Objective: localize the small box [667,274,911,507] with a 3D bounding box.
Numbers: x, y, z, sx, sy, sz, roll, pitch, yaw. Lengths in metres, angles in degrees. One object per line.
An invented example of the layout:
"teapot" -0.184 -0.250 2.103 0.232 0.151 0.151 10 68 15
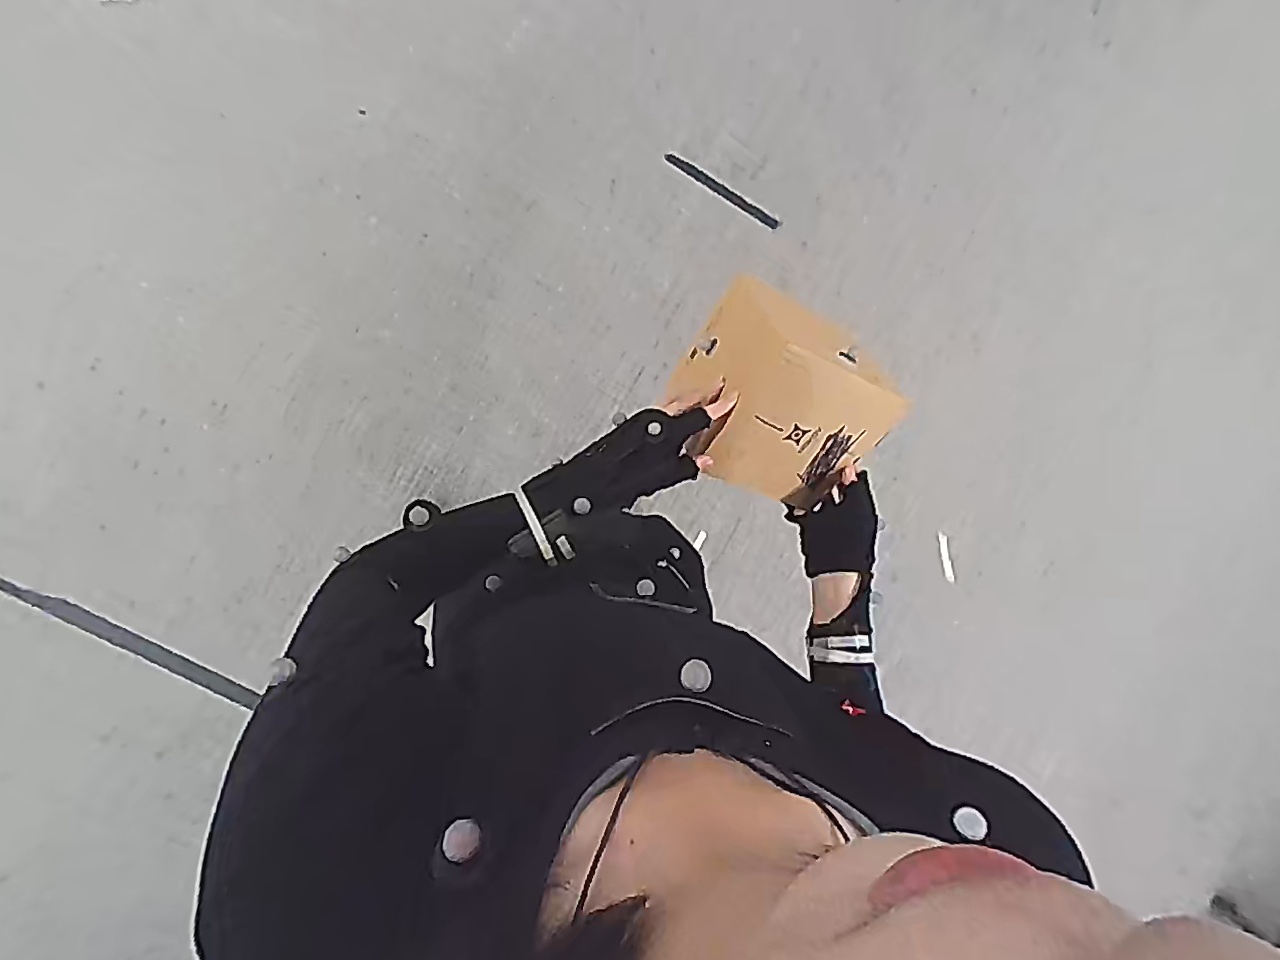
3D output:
"small box" 0.151 -0.101 0.608 0.179 0.176 0.168 18 127 -24
